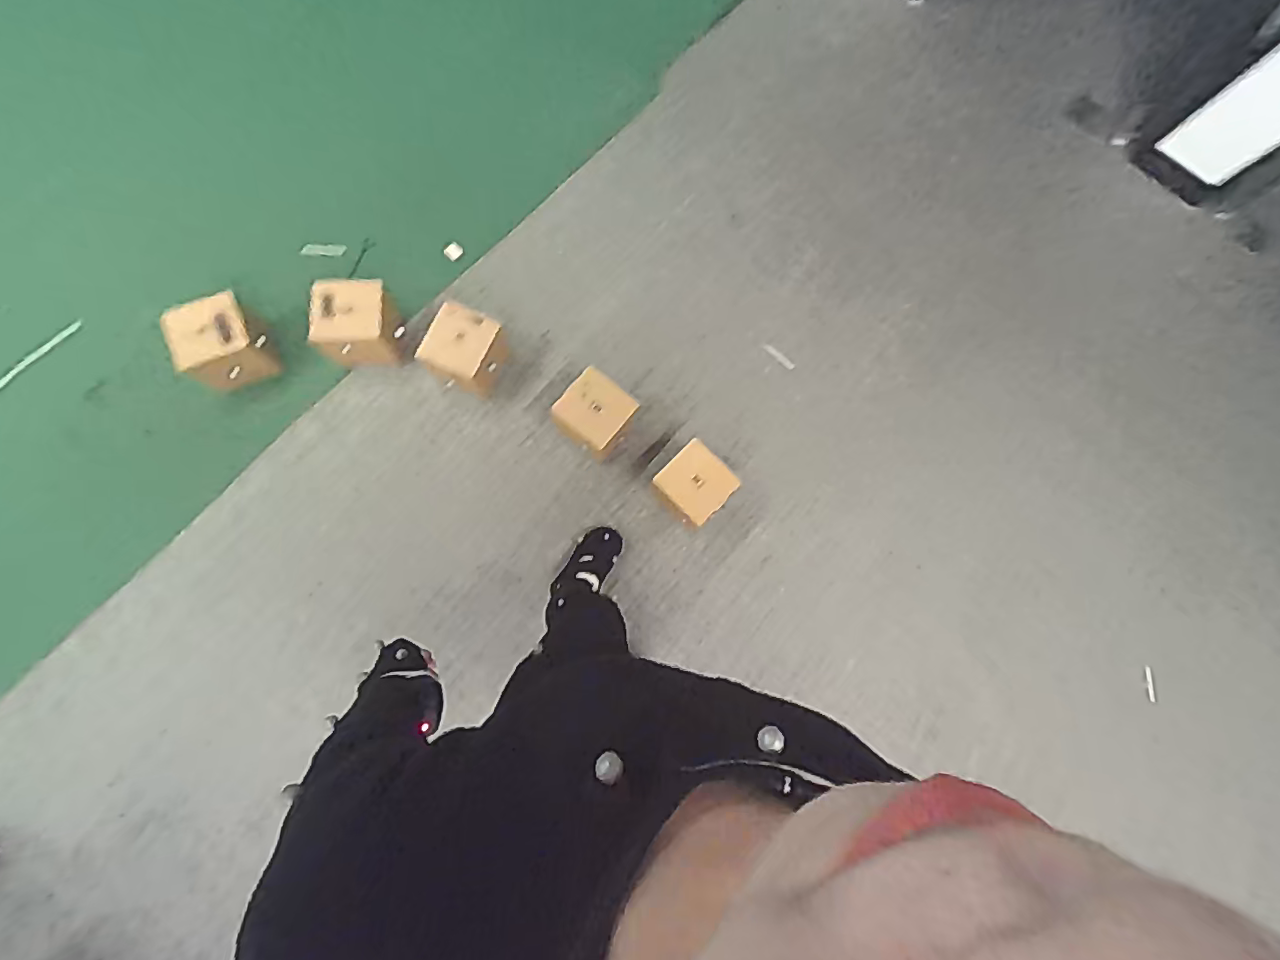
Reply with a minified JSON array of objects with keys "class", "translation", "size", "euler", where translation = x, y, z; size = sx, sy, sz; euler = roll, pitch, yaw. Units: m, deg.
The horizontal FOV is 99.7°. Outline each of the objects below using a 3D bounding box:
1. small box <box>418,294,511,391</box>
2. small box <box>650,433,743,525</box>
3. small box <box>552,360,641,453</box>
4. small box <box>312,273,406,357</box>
[{"class":"small box","translation":[-0.473,-0.371,1.490],"size":[0.168,0.176,0.179],"euler":[24,79,1]},{"class":"small box","translation":[0.143,0.005,1.466],"size":[0.168,0.176,0.179],"euler":[-44,86,-11]},{"class":"small box","translation":[-0.118,-0.190,1.480],"size":[0.179,0.176,0.168],"euler":[40,78,3]},{"class":"small box","translation":[-0.763,-0.446,1.483],"size":[0.179,0.176,0.168],"euler":[-2,79,-5]}]
